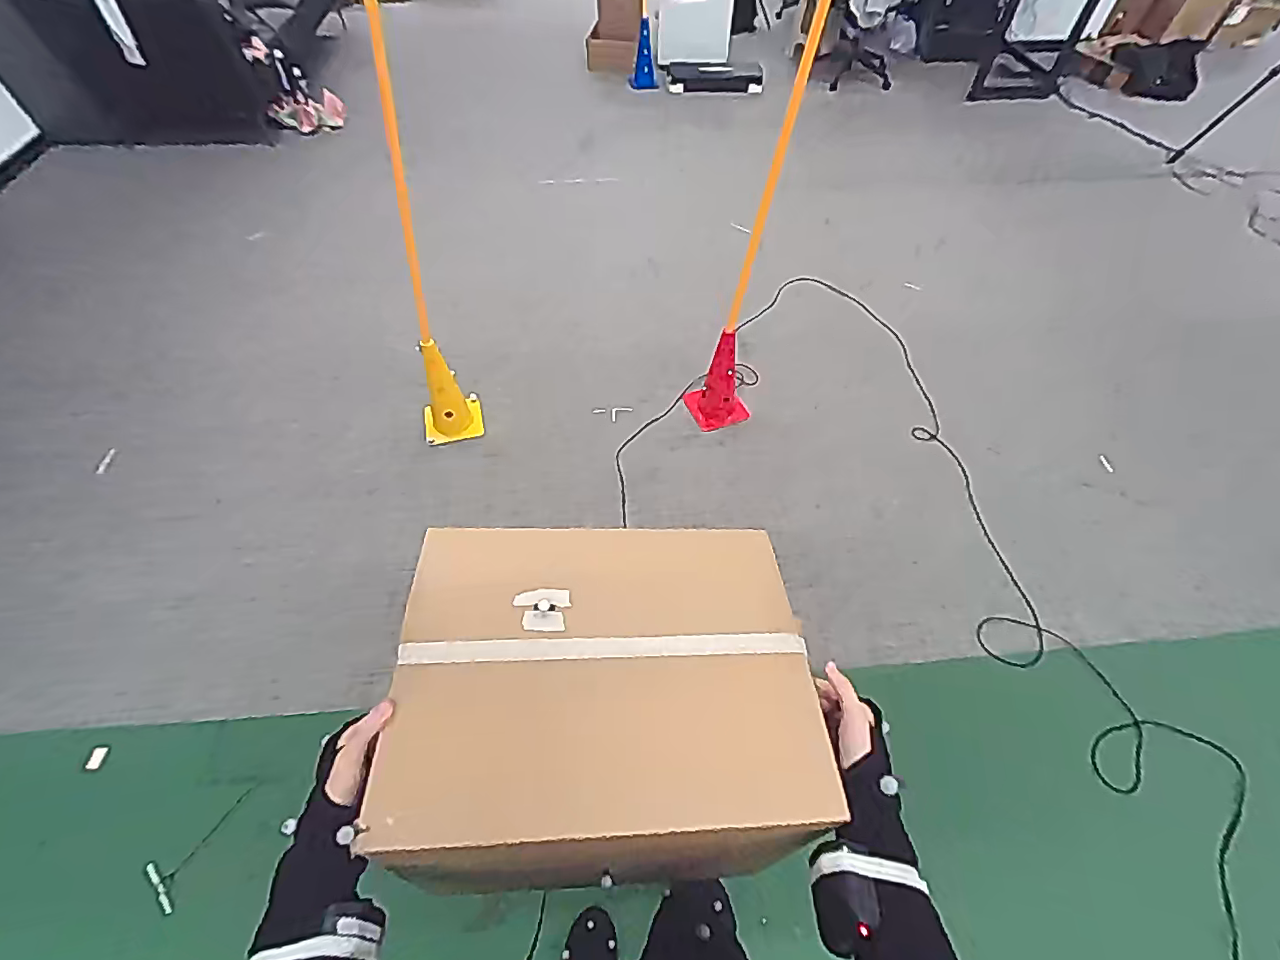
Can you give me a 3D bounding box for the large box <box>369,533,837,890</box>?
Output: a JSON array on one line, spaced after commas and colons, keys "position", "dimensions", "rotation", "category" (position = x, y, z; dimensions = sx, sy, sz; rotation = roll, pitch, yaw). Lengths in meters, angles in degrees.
[{"position": [-0.044, 0.281, 0.661], "dimensions": [0.408, 0.320, 0.320], "rotation": [0, 47, -7], "category": "large box"}]
